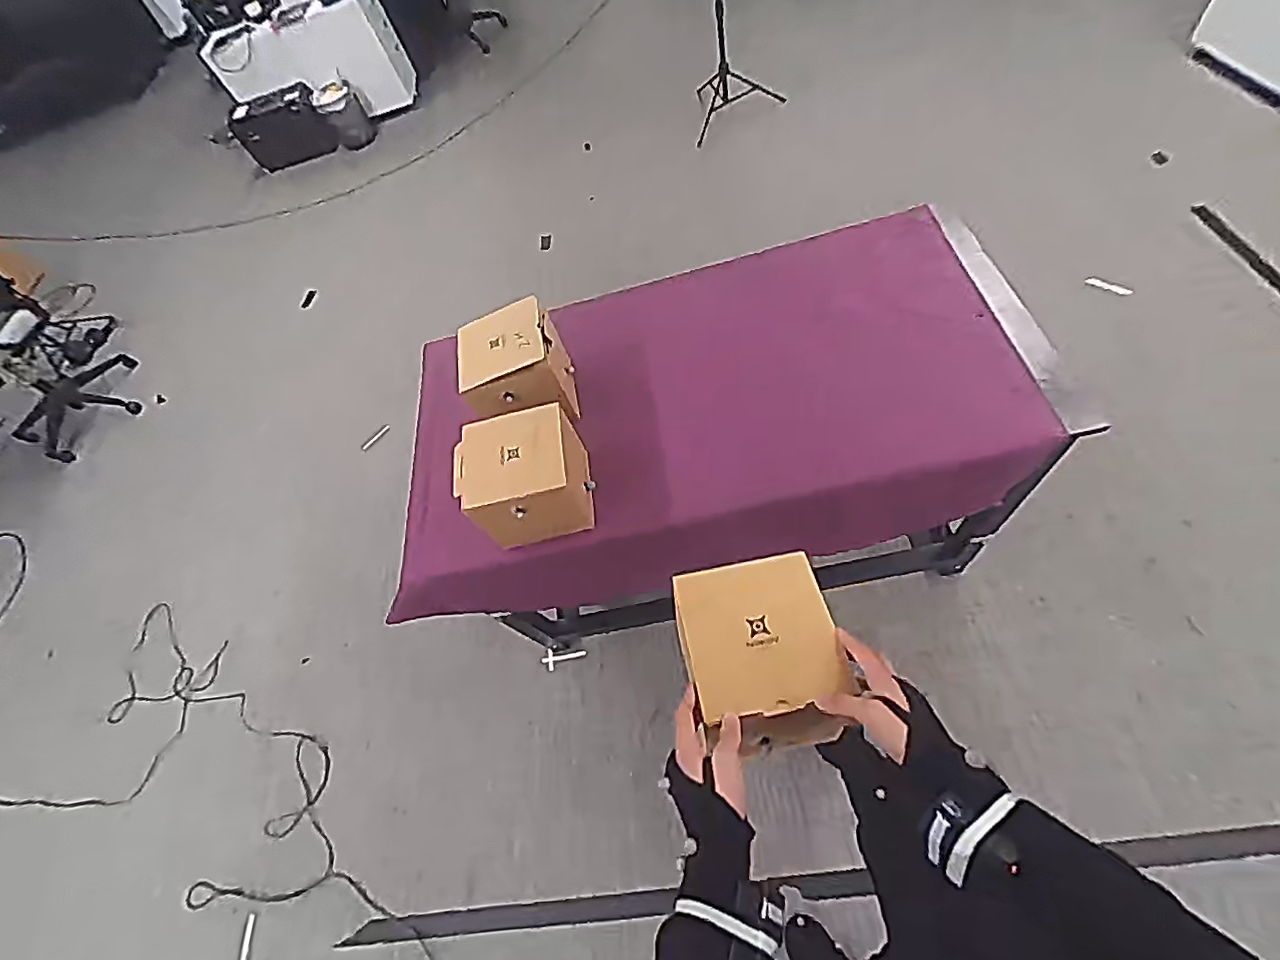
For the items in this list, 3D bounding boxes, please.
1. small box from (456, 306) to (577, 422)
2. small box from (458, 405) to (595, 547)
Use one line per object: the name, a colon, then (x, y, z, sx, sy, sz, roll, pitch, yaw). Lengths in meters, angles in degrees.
small box: (-0.238, -0.202, 1.055, 0.179, 0.176, 0.168, -15, 60, 5)
small box: (-0.191, 0.001, 0.933, 0.179, 0.176, 0.168, -13, 60, 6)
